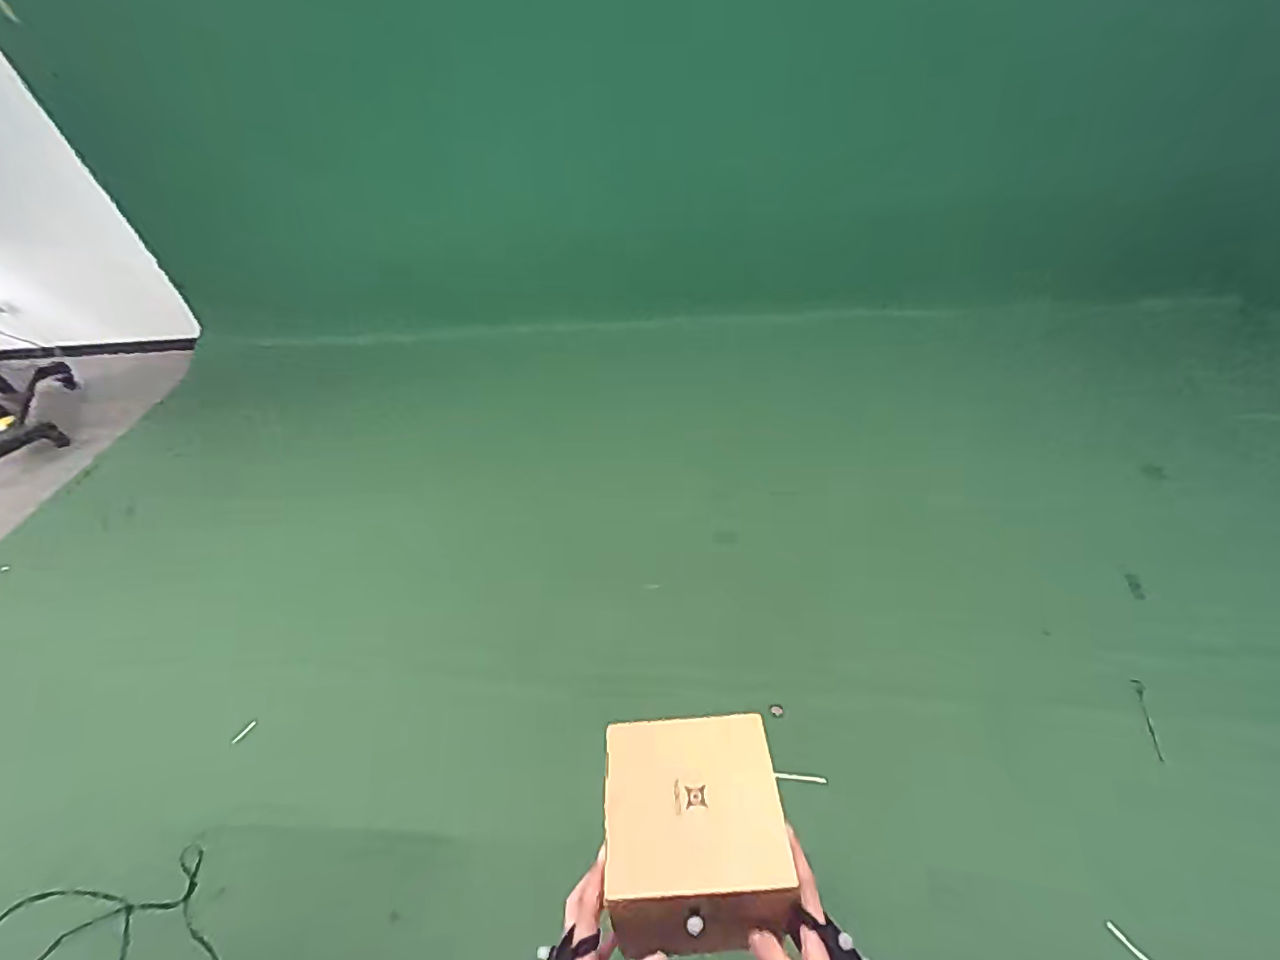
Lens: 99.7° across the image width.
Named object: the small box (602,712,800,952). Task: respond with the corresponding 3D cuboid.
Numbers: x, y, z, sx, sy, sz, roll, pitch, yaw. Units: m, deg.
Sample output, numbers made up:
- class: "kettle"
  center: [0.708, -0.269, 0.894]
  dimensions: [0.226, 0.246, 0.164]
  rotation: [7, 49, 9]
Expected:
- class: "small box"
  center: [0.058, 0.375, 0.580]
  dimensions: [0.179, 0.176, 0.168]
  rotation: [-6, 36, 2]
